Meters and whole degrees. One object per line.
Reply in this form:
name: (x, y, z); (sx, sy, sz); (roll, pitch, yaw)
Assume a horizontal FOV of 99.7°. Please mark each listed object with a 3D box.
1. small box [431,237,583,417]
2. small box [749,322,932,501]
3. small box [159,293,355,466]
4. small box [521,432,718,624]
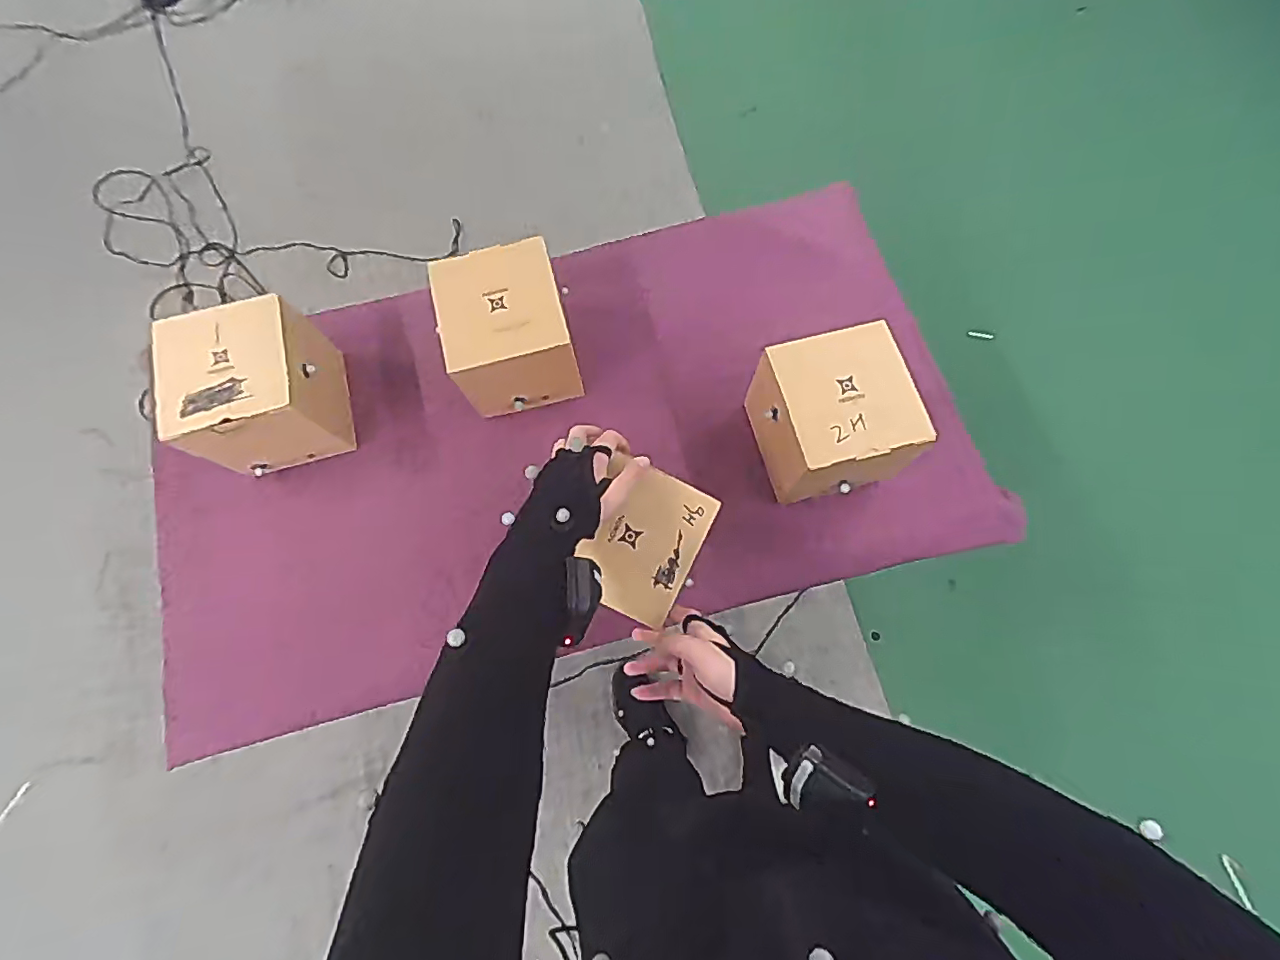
small box: (-0.188, -0.217, 0.800); (0.168, 0.176, 0.179); (-14, 75, -3)
small box: (0.260, -0.087, 0.753); (0.168, 0.176, 0.179); (-13, 73, -2)
small box: (-0.535, -0.131, 0.776); (0.168, 0.176, 0.179); (-15, 74, -4)
small box: (-0.026, 0.063, 0.695); (0.179, 0.176, 0.168); (28, 83, 0)
